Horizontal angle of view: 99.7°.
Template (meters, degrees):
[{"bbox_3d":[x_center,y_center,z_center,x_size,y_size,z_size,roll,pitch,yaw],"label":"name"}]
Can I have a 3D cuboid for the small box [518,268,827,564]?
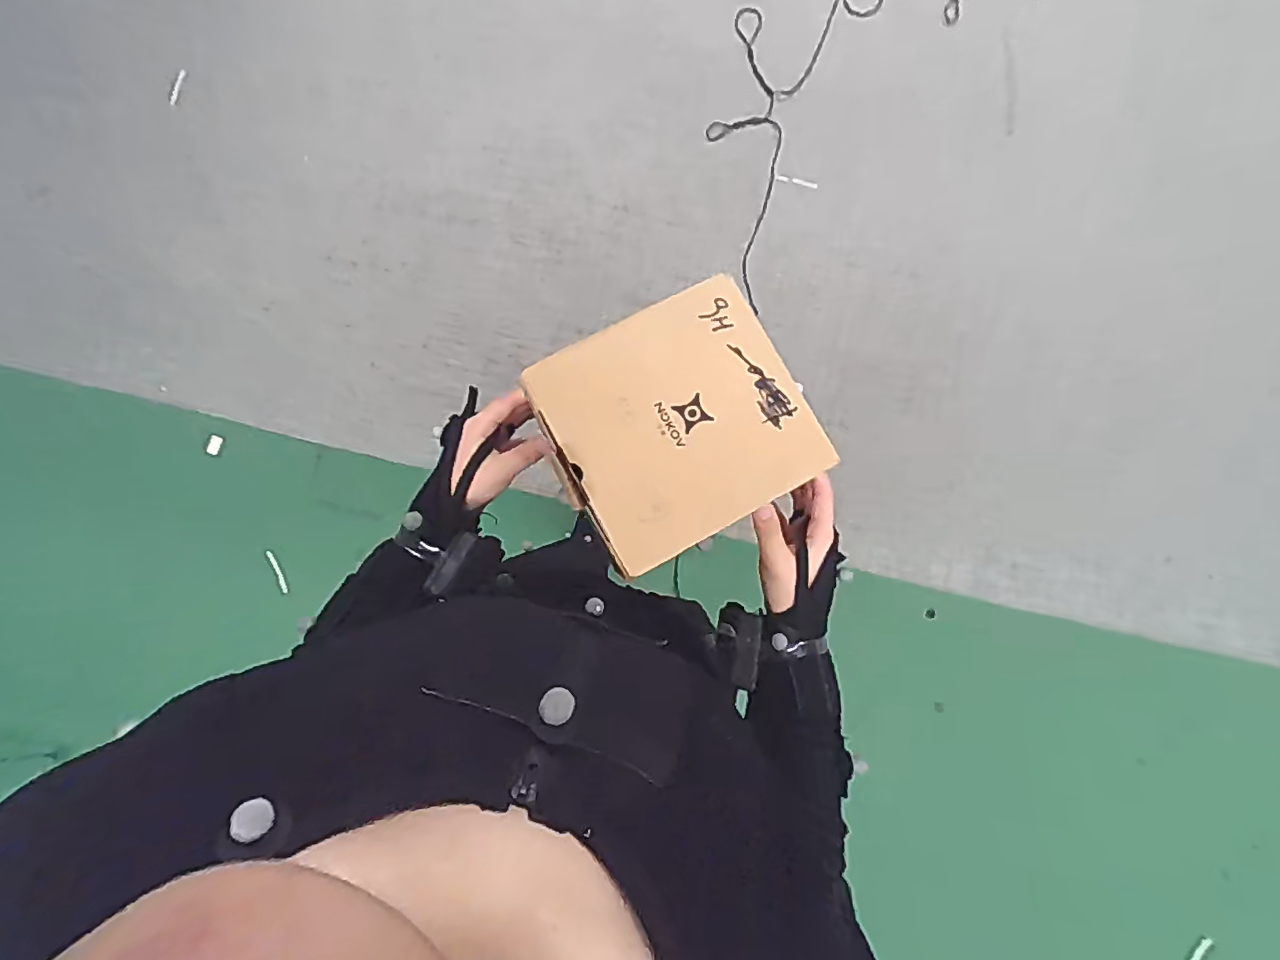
[{"bbox_3d":[0.020,-0.038,0.467,0.179,0.176,0.168,-28,85,-7],"label":"small box"}]
